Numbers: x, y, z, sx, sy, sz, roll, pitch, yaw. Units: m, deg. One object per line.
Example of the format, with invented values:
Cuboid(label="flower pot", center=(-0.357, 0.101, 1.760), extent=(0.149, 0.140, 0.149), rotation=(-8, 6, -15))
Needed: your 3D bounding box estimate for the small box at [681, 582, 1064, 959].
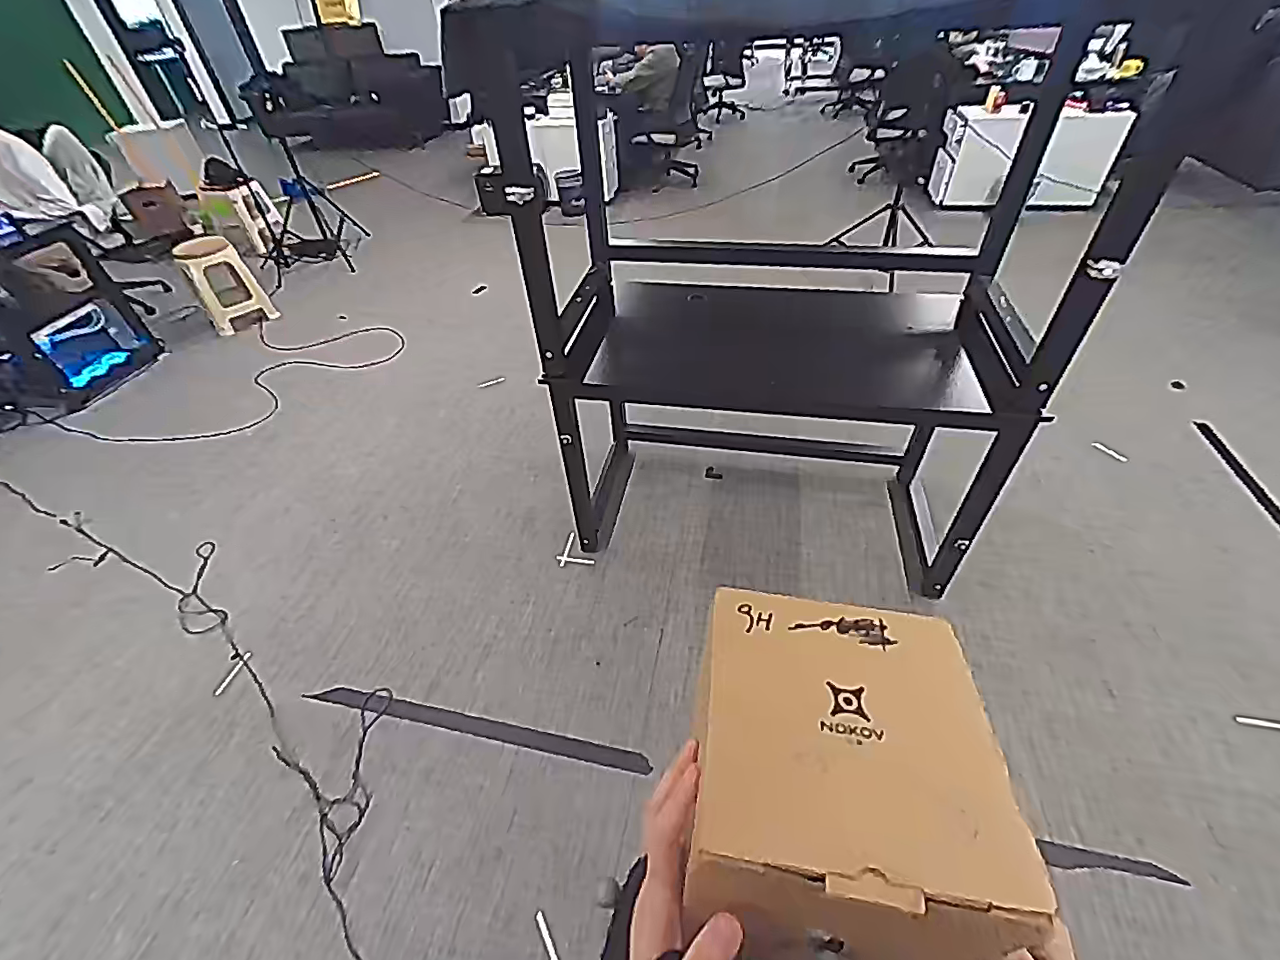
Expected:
Cuboid(label="small box", center=(0.121, 0.198, 0.361), extent=(0.168, 0.176, 0.179), rotation=(8, 38, 6))
